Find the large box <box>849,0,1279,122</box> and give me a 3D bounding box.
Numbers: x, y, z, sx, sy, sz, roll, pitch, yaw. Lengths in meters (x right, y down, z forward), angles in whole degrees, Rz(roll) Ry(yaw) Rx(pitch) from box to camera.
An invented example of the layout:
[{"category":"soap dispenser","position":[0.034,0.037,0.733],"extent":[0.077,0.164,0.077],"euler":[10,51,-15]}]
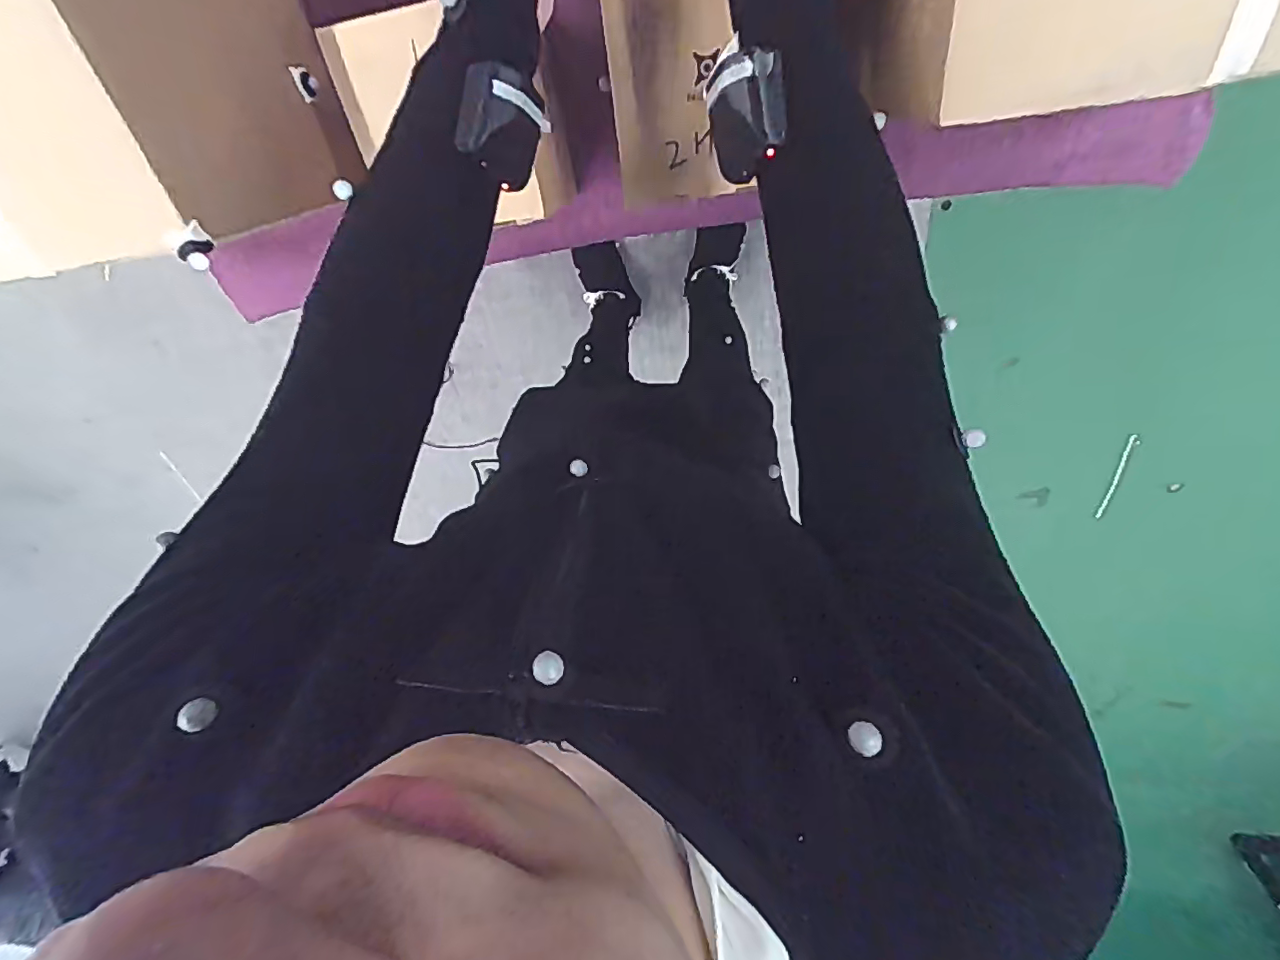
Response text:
[{"category":"large box","position":[0.331,-0.492,0.331],"extent":[0.320,0.320,0.408],"euler":[-4,127,10]}]
